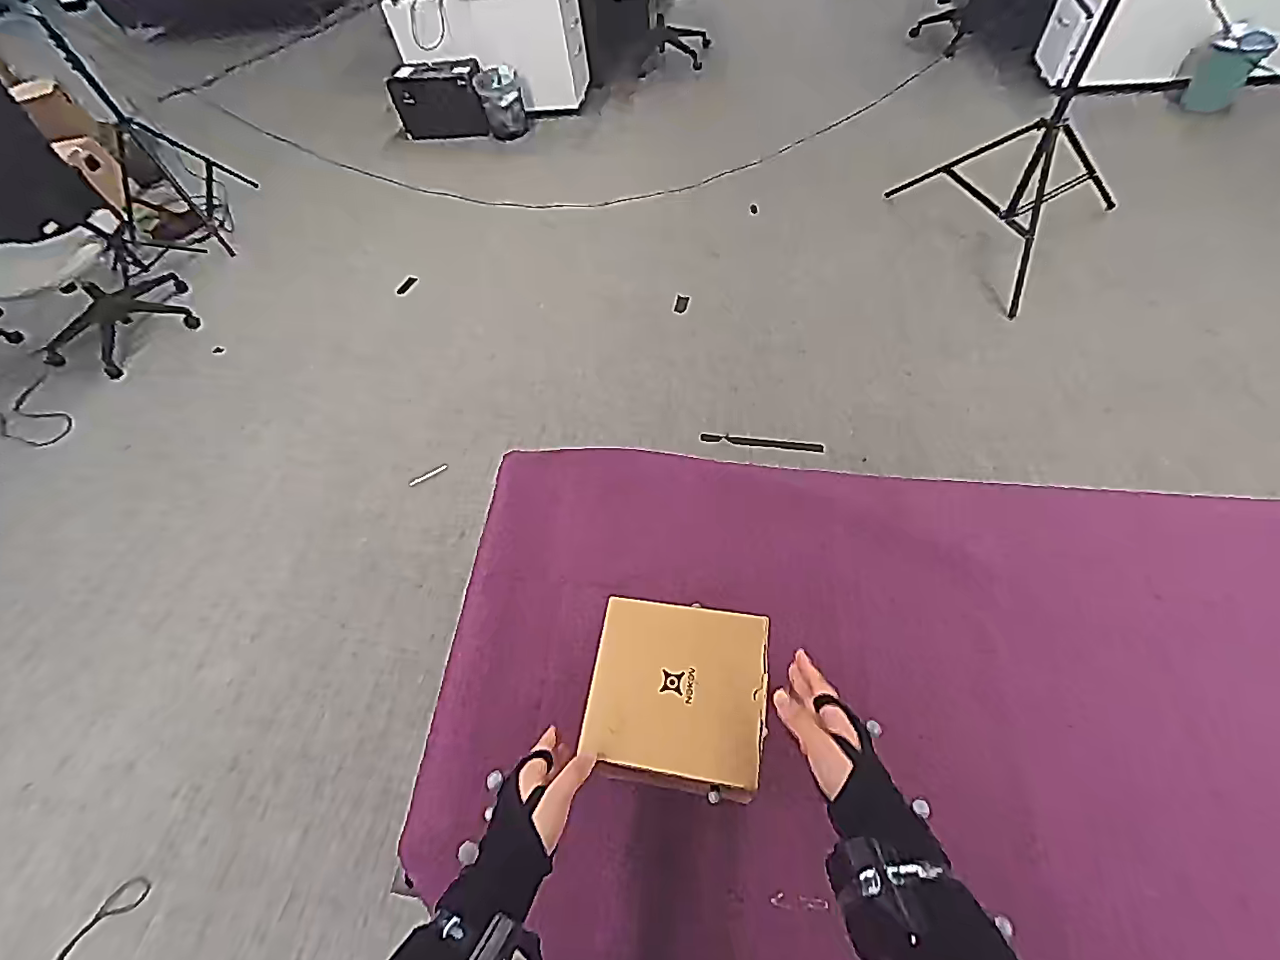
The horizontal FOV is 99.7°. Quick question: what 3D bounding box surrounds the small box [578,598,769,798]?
[{"bbox_3d":[0.046,0.250,0.610,0.179,0.176,0.168,5,57,10],"label":"small box"}]
